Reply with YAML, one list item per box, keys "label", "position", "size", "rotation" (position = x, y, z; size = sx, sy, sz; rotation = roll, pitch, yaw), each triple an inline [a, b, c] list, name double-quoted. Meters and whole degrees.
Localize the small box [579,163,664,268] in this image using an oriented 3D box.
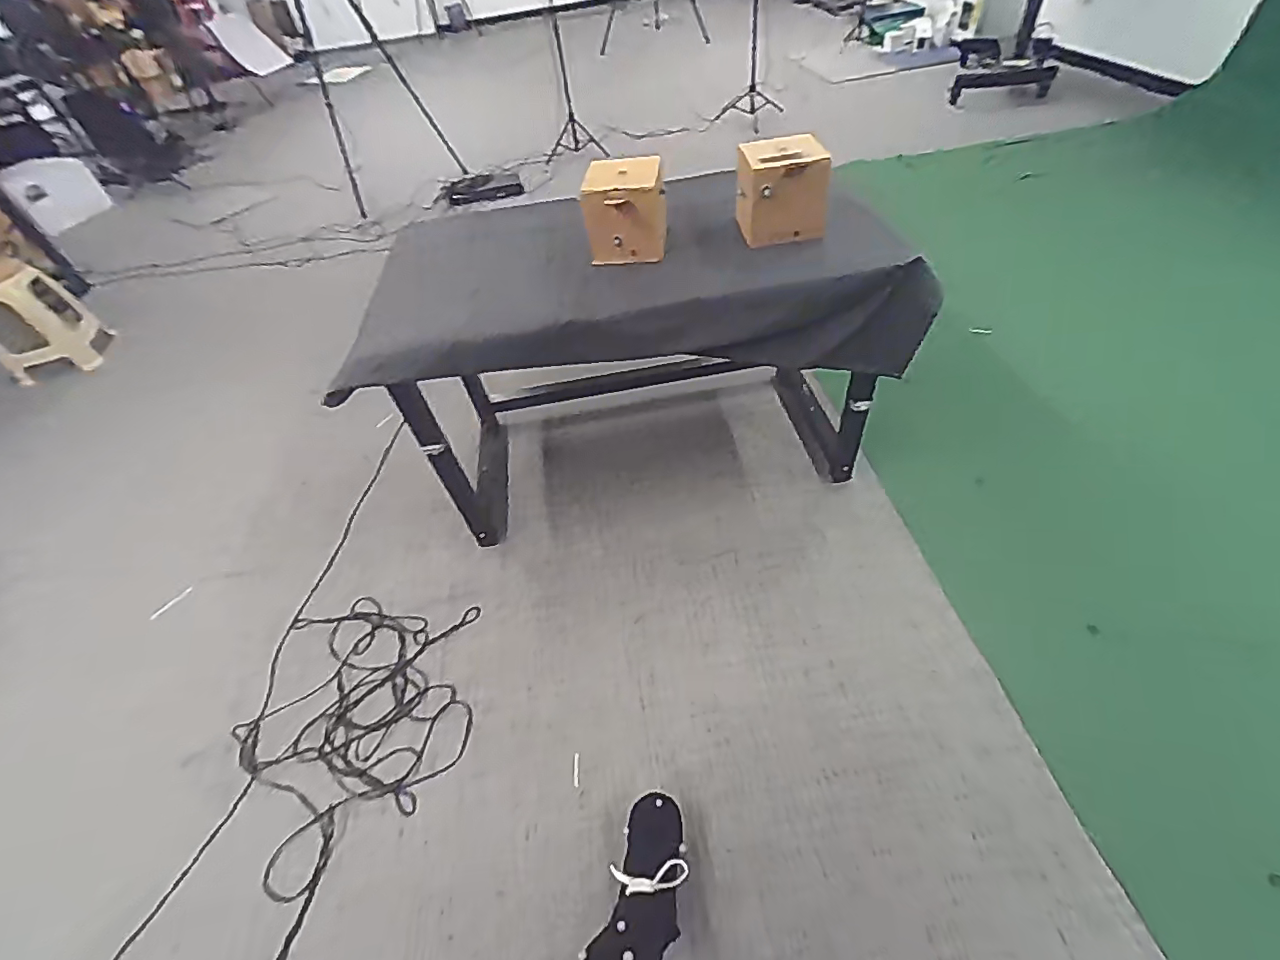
- label: "small box"
  position: [-0.035, -0.615, 1.261]
  size: [0.168, 0.176, 0.179]
  rotation: [1, 49, 8]
